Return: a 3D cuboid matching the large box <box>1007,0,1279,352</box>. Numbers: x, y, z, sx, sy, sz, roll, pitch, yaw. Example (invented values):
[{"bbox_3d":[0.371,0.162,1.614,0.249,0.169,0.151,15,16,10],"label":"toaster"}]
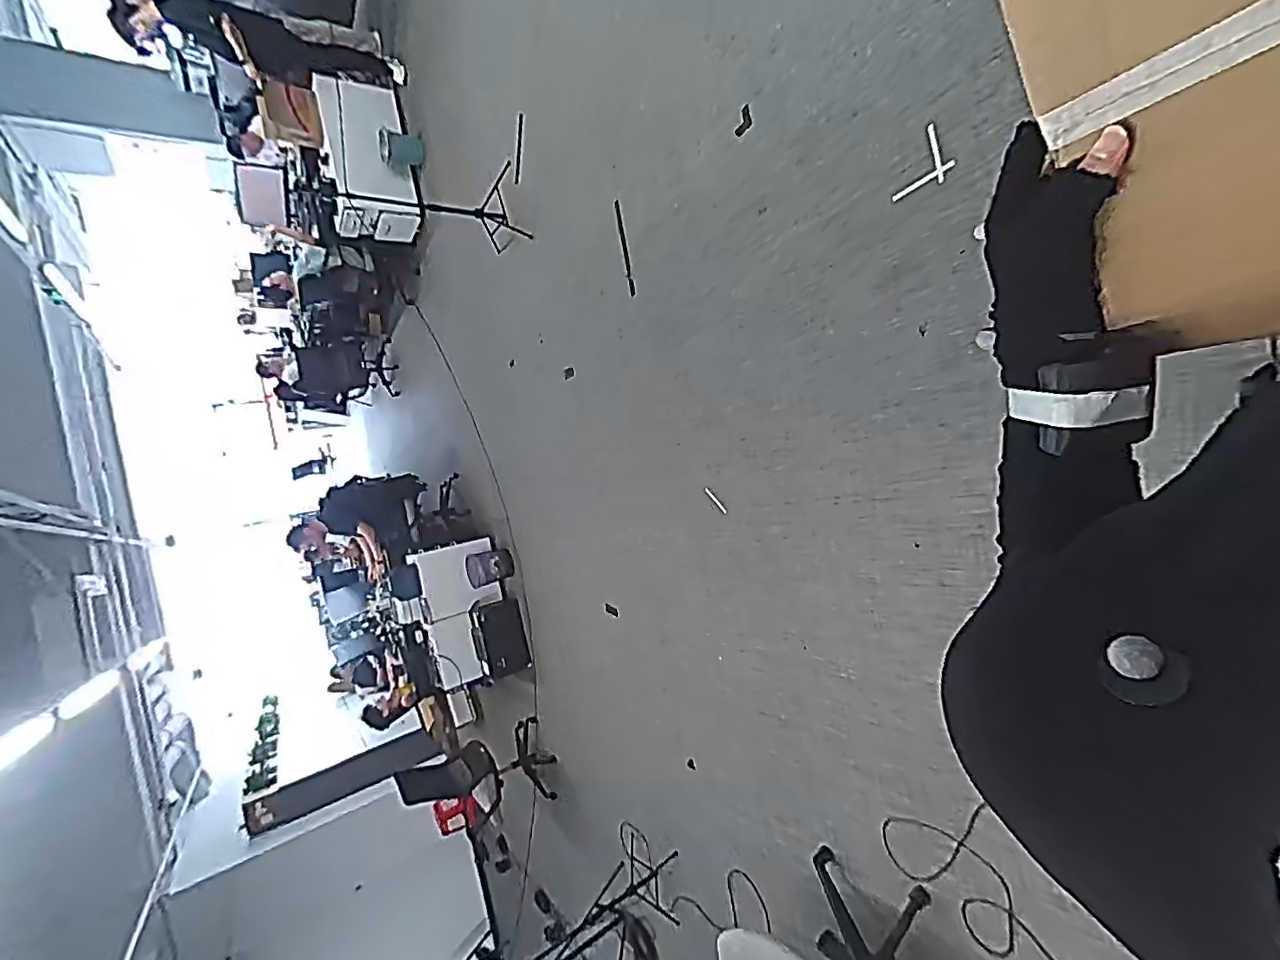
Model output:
[{"bbox_3d":[0.449,-0.306,0.228,0.408,0.320,0.320,-5,124,56],"label":"large box"}]
